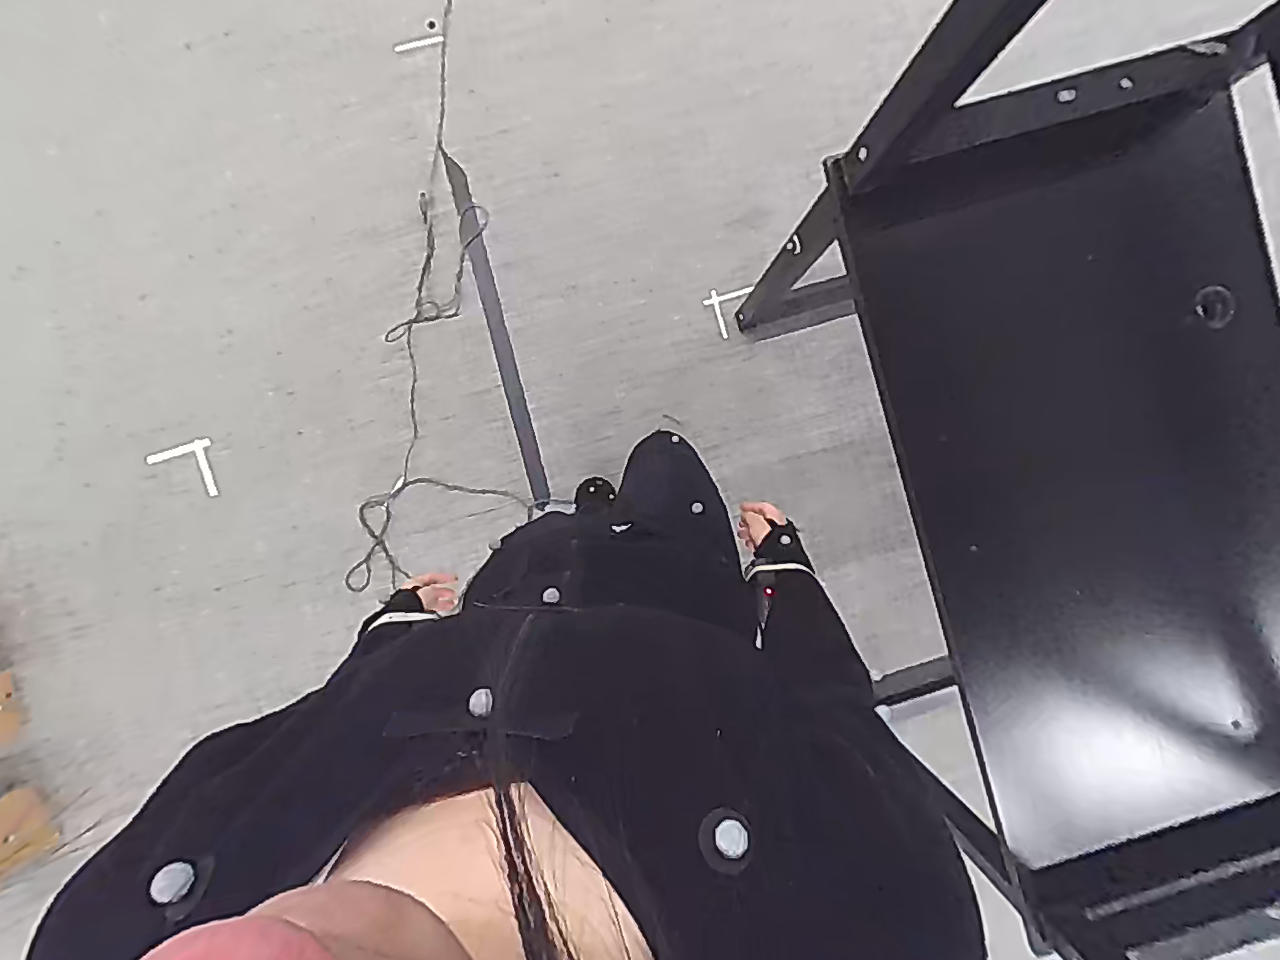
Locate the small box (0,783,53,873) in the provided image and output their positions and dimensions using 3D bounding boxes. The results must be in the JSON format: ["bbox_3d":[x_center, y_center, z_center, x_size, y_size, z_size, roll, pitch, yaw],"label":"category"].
[{"bbox_3d":[-1.681,0.923,1.374,0.168,0.176,0.179,-28,93,-2],"label":"small box"}]

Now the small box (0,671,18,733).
[{"bbox_3d":[-1.760,0.604,1.363,0.179,0.176,0.168,-13,92,-2],"label":"small box"}]
